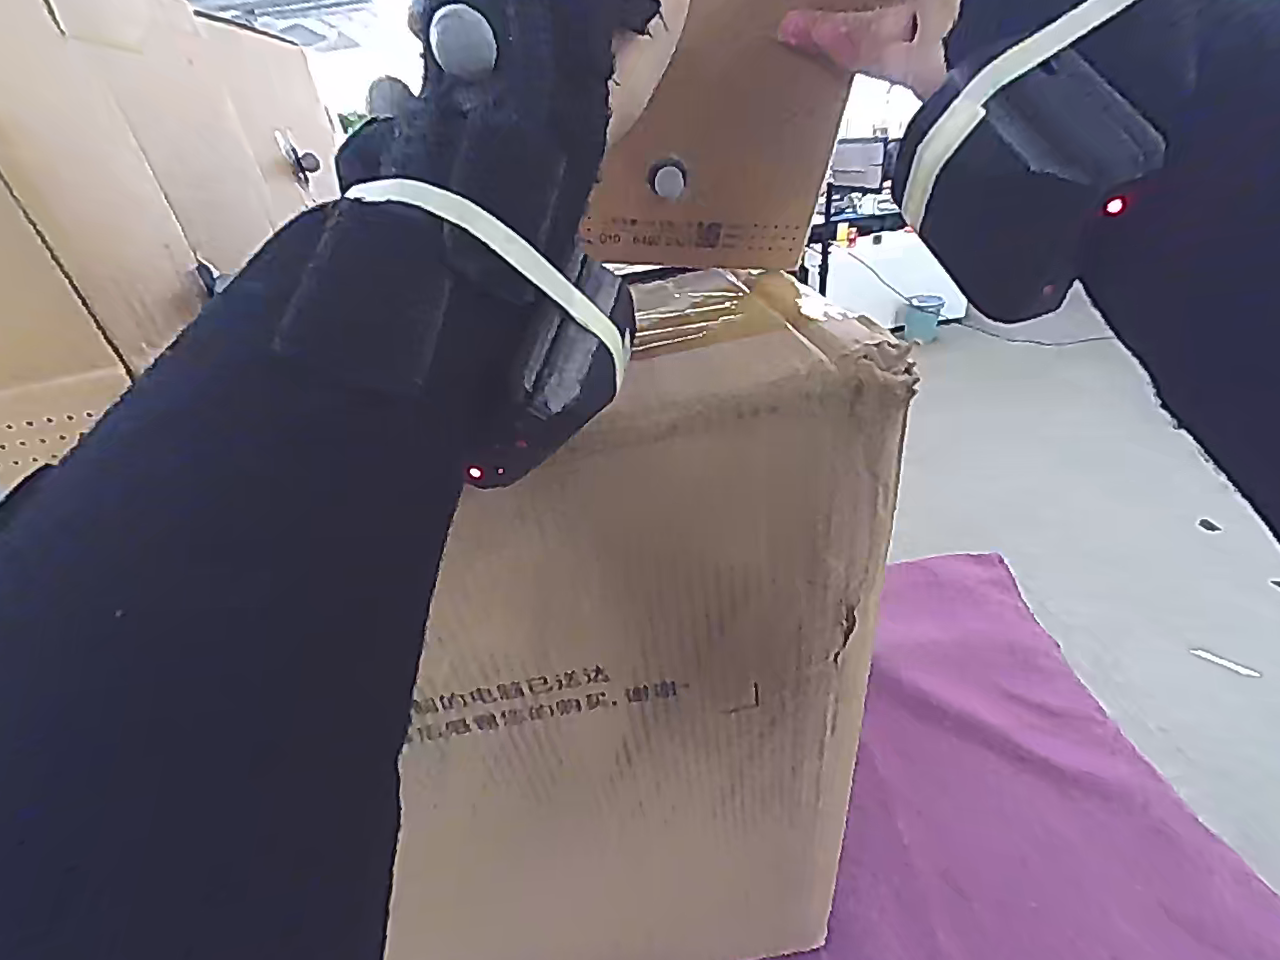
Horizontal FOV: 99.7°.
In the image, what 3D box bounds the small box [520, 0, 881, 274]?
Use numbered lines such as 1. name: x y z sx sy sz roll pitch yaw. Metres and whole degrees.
1. small box: 0.017 -0.247 0.325 0.168 0.176 0.179 0 48 -7
